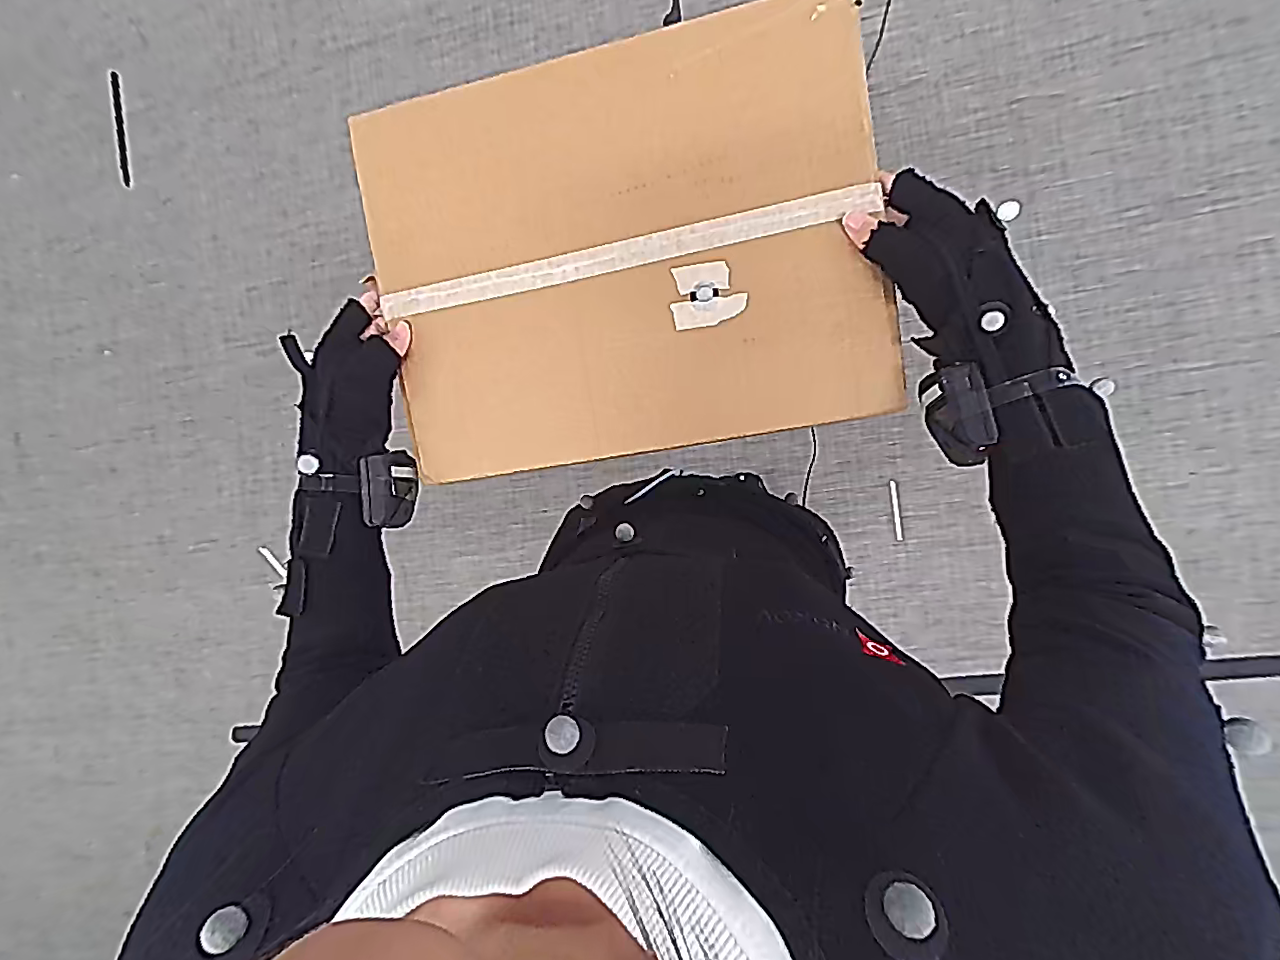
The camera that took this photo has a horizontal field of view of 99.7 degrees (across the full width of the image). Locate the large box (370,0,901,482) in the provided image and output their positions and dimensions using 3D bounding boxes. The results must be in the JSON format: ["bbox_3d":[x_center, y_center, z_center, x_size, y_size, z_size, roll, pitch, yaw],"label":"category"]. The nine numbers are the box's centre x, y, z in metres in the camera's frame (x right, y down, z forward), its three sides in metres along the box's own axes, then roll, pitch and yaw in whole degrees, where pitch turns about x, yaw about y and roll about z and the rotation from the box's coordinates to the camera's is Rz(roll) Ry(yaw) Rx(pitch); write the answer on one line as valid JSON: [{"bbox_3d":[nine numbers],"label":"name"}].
[{"bbox_3d":[0.005,-0.194,0.589,0.408,0.320,0.320,-9,95,9],"label":"large box"}]
